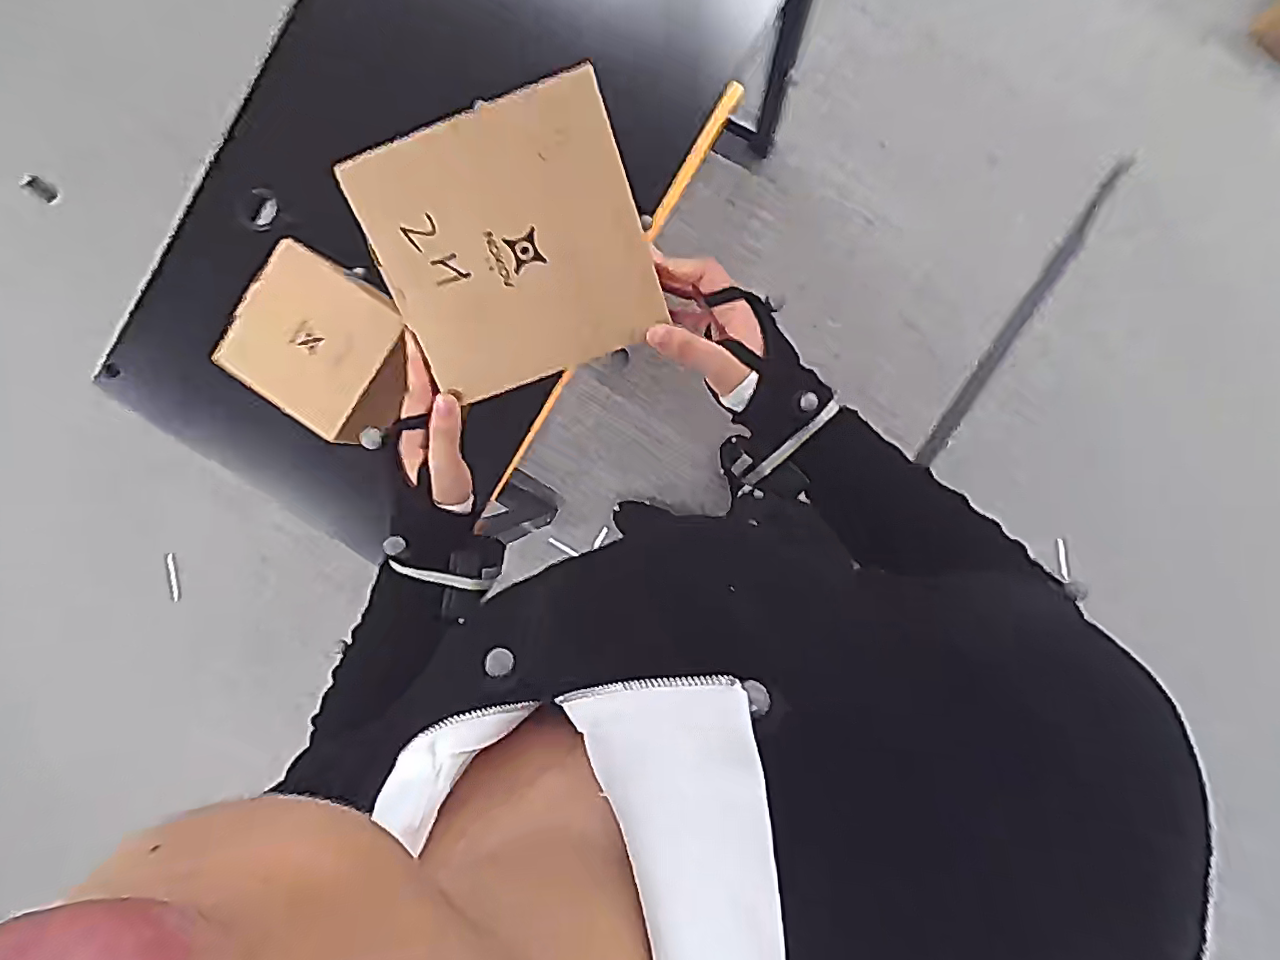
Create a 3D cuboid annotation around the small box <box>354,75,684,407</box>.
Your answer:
[{"bbox_3d":[-0.078,-0.177,0.433,0.179,0.176,0.168,-17,110,5],"label":"small box"}]

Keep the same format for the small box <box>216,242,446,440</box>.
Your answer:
[{"bbox_3d":[-0.367,-0.160,0.691,0.179,0.176,0.168,34,95,2],"label":"small box"}]

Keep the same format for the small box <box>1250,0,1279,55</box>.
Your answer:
[{"bbox_3d":[1.592,-1.118,1.242,0.168,0.176,0.179,33,95,2],"label":"small box"}]
